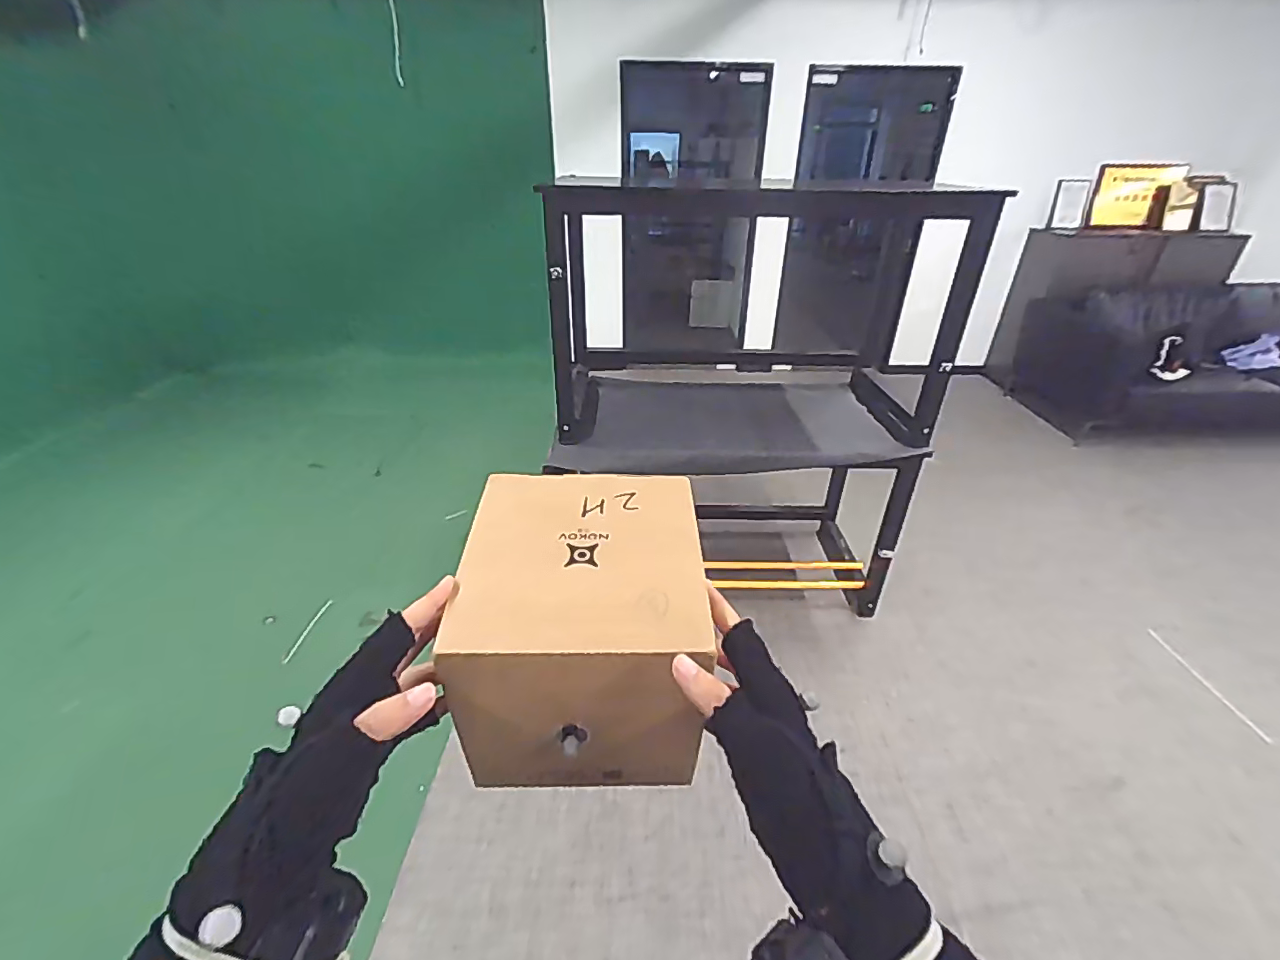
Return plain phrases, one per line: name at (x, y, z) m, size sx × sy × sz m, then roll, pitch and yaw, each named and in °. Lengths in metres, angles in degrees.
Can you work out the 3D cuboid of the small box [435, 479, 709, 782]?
small box at (-0.041, 0.116, 0.428) m, size 0.168 × 0.176 × 0.179 m, roll 1°, pitch 36°, yaw -2°
